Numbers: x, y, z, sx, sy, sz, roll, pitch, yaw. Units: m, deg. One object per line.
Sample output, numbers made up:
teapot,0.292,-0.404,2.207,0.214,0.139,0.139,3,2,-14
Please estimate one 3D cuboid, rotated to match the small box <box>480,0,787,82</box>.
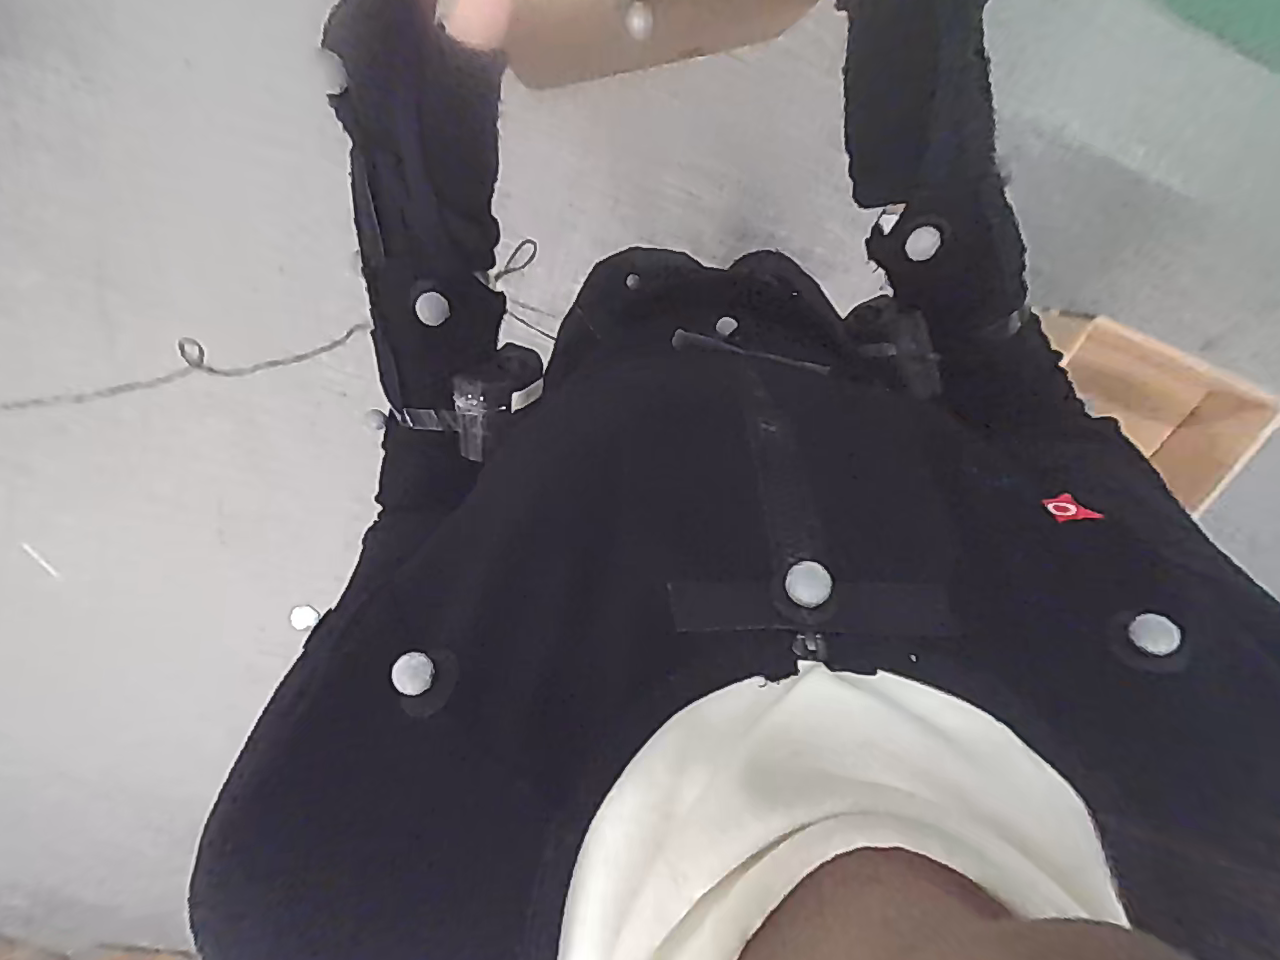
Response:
small box,-0.011,-0.306,0.230,0.168,0.176,0.179,-11,117,3
